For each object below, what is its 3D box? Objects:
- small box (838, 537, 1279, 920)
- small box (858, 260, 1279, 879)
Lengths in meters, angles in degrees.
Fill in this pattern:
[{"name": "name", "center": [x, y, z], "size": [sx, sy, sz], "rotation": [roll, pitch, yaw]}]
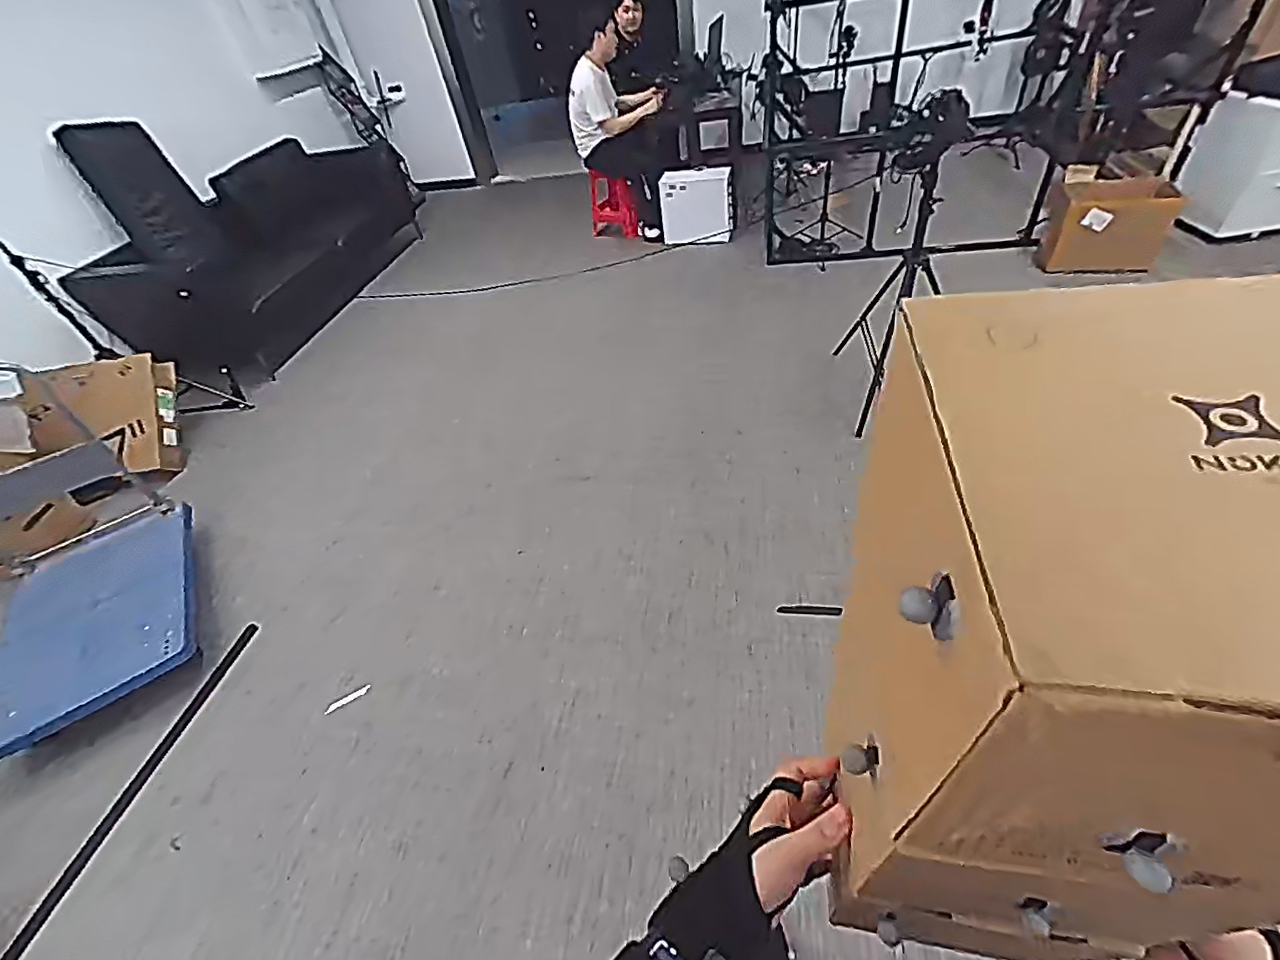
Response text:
[{"name": "small box", "center": [0.222, 0.144, 0.334], "size": [0.168, 0.176, 0.179], "rotation": [1, 46, 12]}, {"name": "small box", "center": [0.193, 0.032, 0.219], "size": [0.168, 0.176, 0.179], "rotation": [0, 47, 12]}]
